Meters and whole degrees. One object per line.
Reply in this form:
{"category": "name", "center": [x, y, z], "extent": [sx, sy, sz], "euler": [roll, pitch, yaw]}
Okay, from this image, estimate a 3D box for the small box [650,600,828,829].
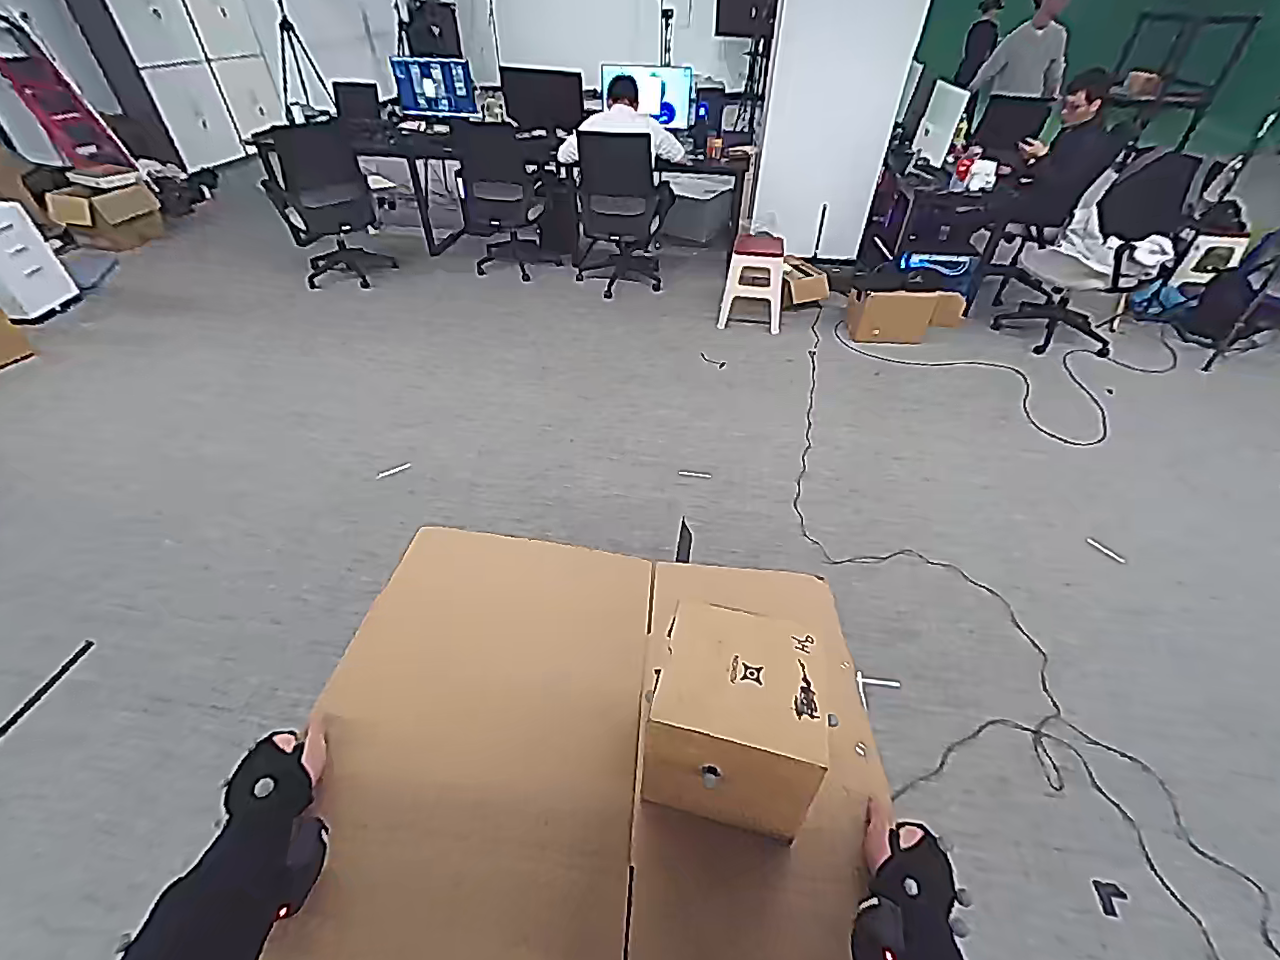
{"category": "small box", "center": [0.112, 0.271, 0.631], "extent": [0.179, 0.176, 0.168], "euler": [10, 37, 11]}
